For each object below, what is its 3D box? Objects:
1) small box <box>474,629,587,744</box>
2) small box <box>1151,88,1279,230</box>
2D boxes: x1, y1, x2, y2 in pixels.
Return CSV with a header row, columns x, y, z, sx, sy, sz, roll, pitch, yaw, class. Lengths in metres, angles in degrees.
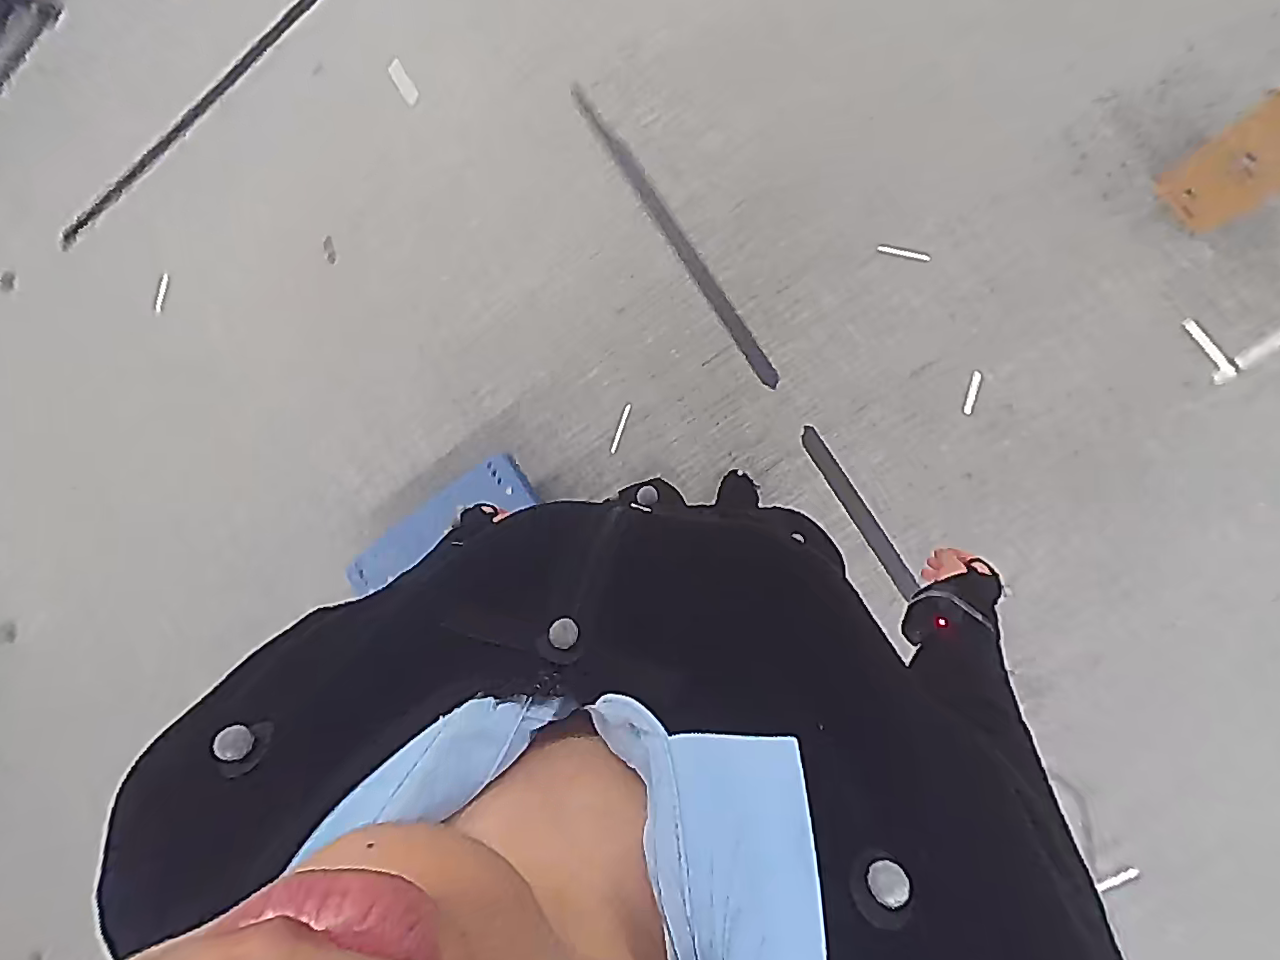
x,y,z,sx,sy,sz,roll,pitch,yaw,class
-0.252,0.482,1.285,0.179,0.176,0.168,-32,85,9,small box
1.305,-0.693,1.184,0.179,0.176,0.168,-36,84,9,small box
